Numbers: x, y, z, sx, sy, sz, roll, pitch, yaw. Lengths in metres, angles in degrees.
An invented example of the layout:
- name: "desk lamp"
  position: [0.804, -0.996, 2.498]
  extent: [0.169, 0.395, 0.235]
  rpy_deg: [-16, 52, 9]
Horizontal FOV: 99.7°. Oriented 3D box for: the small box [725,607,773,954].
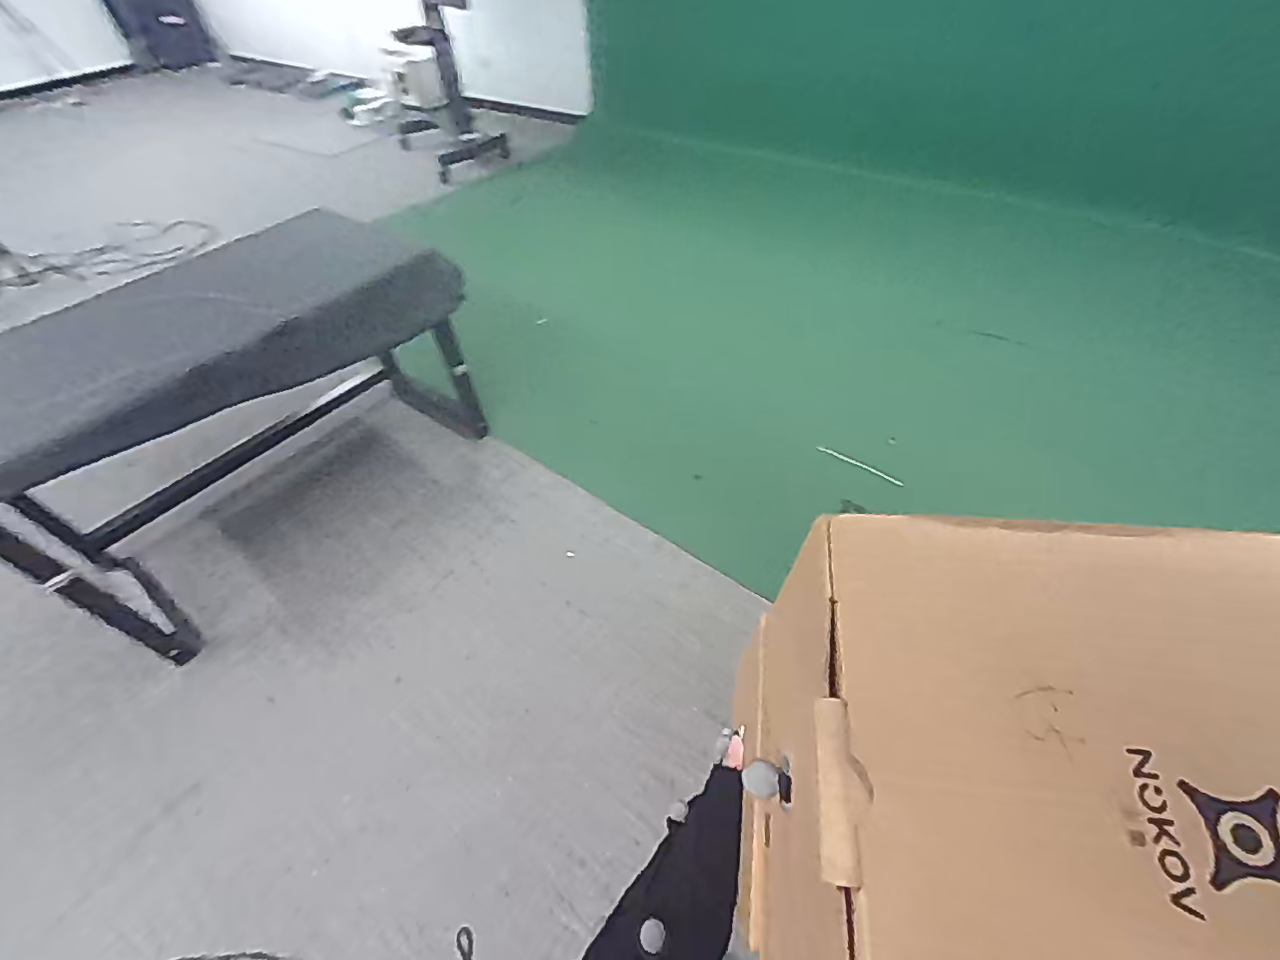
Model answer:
- name: "small box"
  position: [0.151, 0.185, 0.351]
  extent: [0.179, 0.176, 0.168]
  rpy_deg: [1, 62, 5]
